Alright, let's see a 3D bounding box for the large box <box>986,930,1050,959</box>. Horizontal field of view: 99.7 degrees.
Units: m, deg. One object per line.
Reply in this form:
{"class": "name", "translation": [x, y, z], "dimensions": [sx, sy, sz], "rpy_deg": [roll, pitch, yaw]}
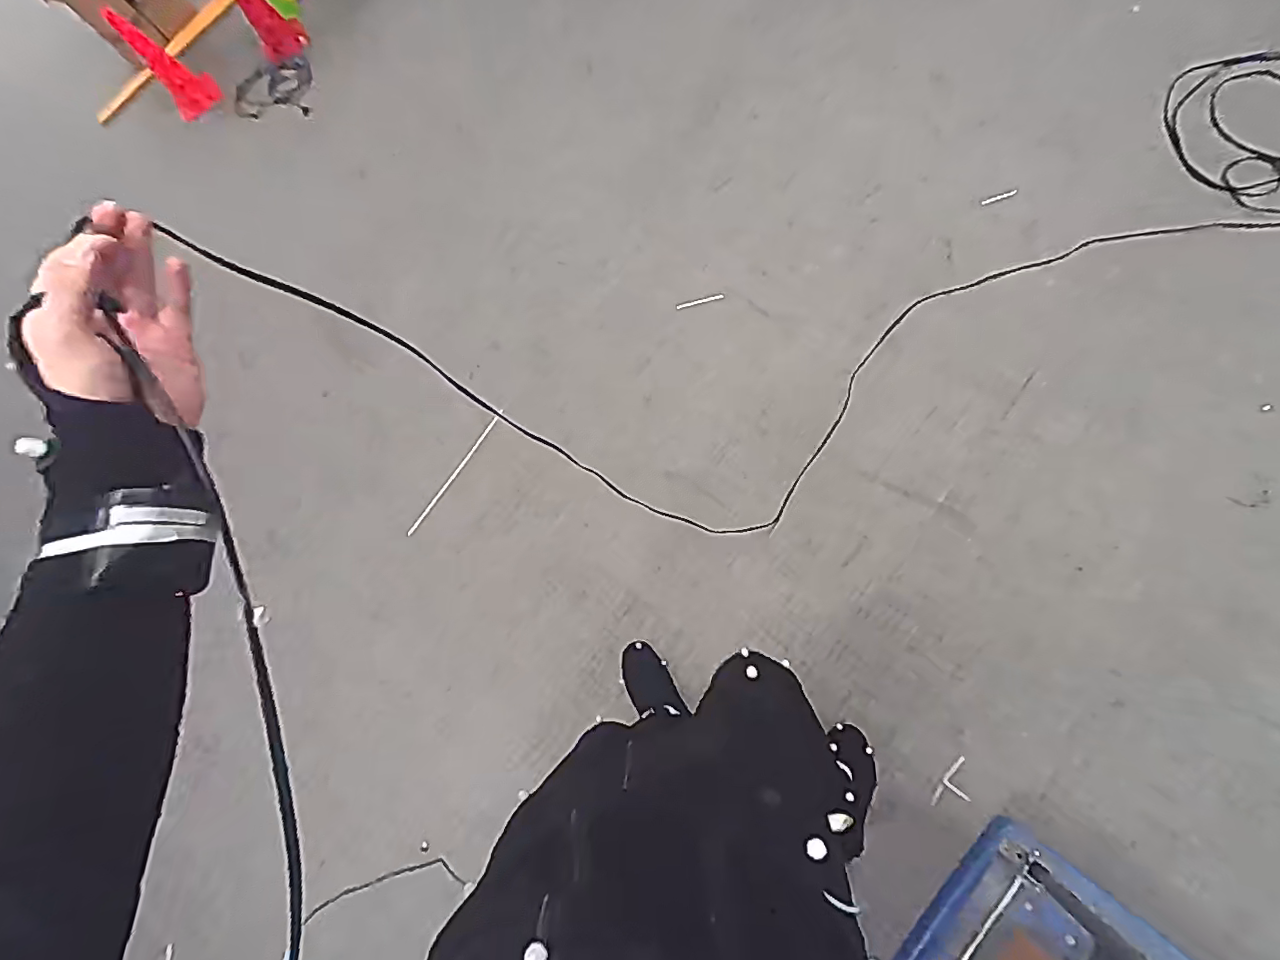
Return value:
{"class": "large box", "translation": [0.736, 1.039, 0.817], "dimensions": [0.408, 0.320, 0.320], "rpy_deg": [36, 86, 17]}
